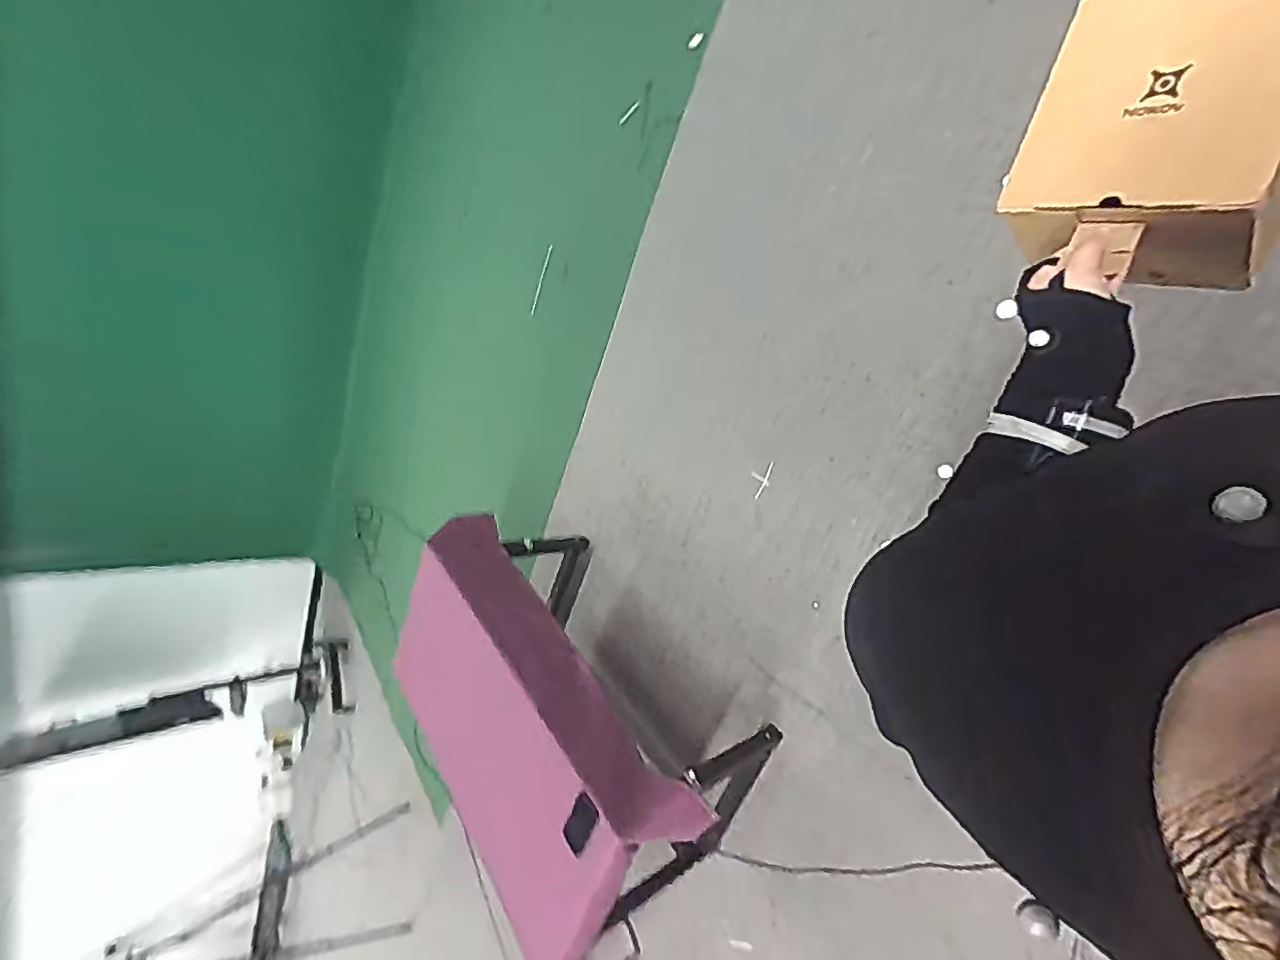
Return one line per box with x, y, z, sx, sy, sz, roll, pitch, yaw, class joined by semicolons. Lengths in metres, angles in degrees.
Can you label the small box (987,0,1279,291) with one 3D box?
0.445;-0.285;0.471;0.168;0.176;0.179;28;106;45;small box
